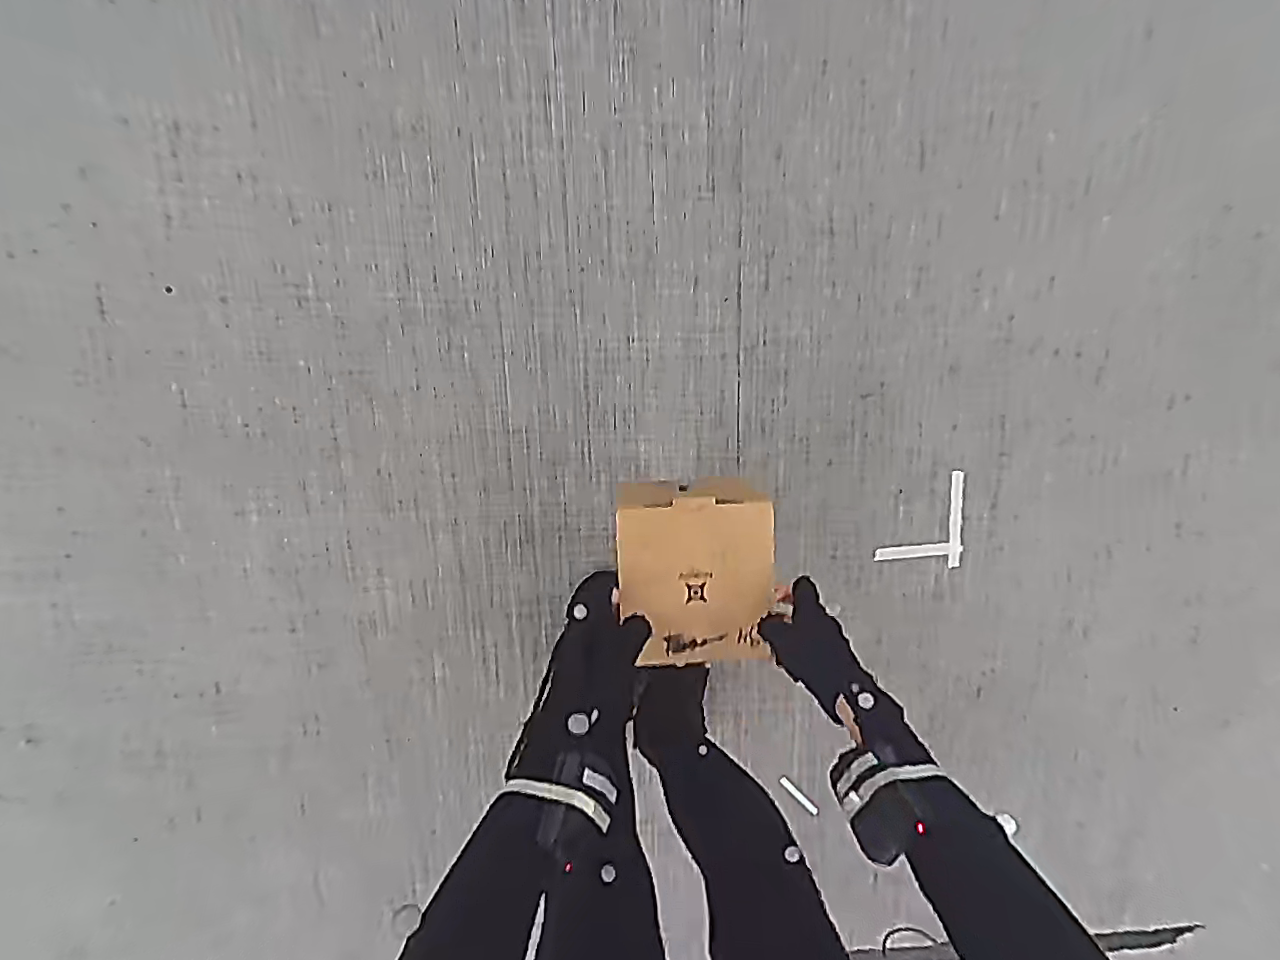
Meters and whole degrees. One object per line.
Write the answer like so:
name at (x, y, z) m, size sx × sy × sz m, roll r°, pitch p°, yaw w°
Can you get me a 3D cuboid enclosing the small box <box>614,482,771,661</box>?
small box at (0.053, 0.096, 0.652) m, size 0.168 × 0.176 × 0.179 m, roll -2°, pitch 98°, yaw -2°
